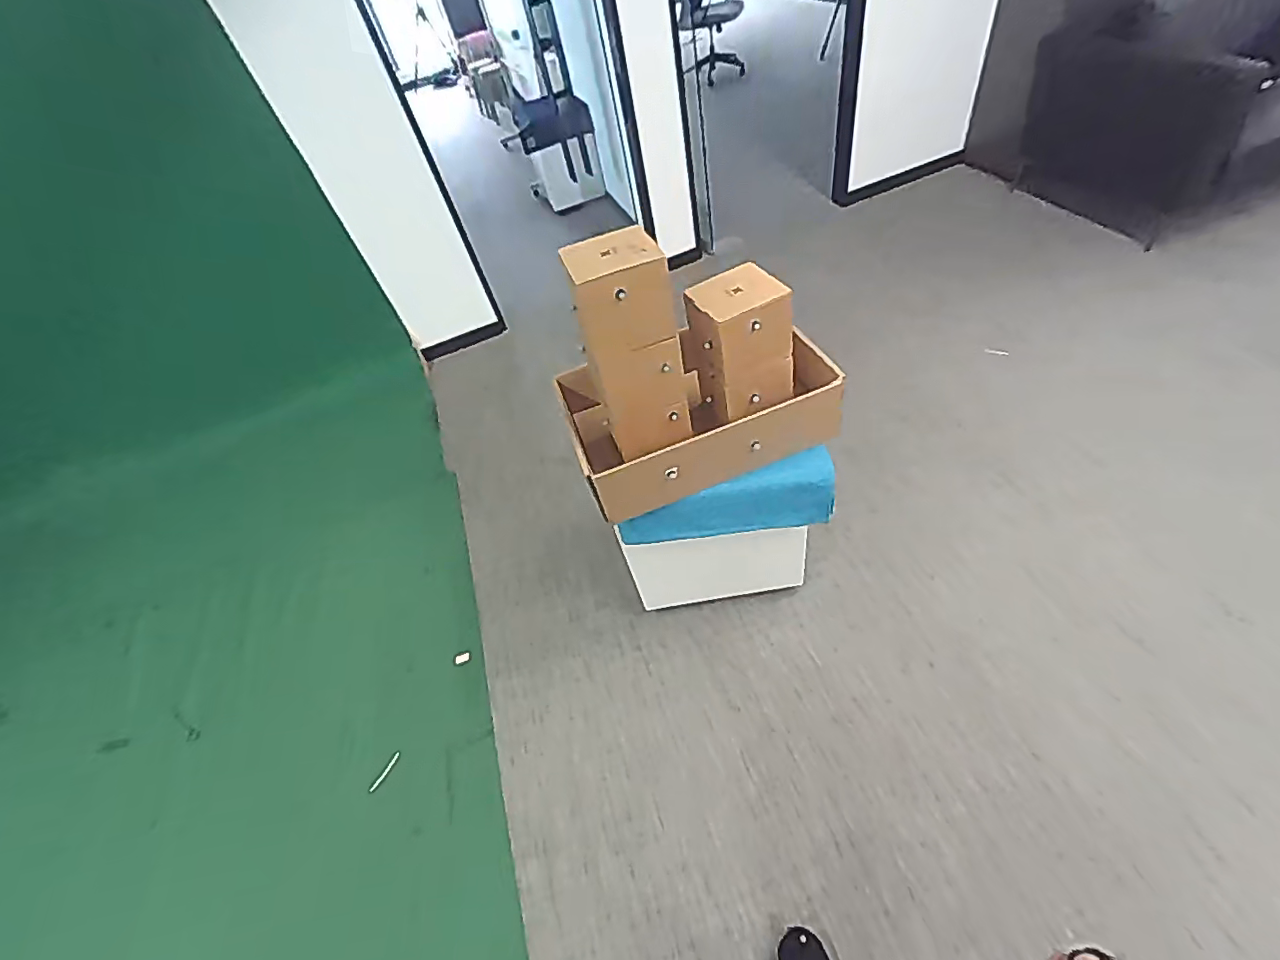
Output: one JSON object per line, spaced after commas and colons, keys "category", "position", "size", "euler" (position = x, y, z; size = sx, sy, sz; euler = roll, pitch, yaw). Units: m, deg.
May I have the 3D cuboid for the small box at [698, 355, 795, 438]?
{"category": "small box", "position": [0.264, -0.232, 1.322], "size": [0.179, 0.176, 0.168], "euler": [-25, 47, -4]}

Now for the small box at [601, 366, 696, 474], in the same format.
{"category": "small box", "position": [0.024, -0.142, 1.313], "size": [0.179, 0.176, 0.168], "euler": [-20, 46, -6]}

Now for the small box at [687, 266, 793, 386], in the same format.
{"category": "small box", "position": [0.226, -0.339, 1.204], "size": [0.179, 0.176, 0.168], "euler": [-25, 47, -6]}

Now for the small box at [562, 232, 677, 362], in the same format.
{"category": "small box", "position": [-0.038, -0.361, 1.076], "size": [0.179, 0.176, 0.168], "euler": [-19, 47, -5]}
